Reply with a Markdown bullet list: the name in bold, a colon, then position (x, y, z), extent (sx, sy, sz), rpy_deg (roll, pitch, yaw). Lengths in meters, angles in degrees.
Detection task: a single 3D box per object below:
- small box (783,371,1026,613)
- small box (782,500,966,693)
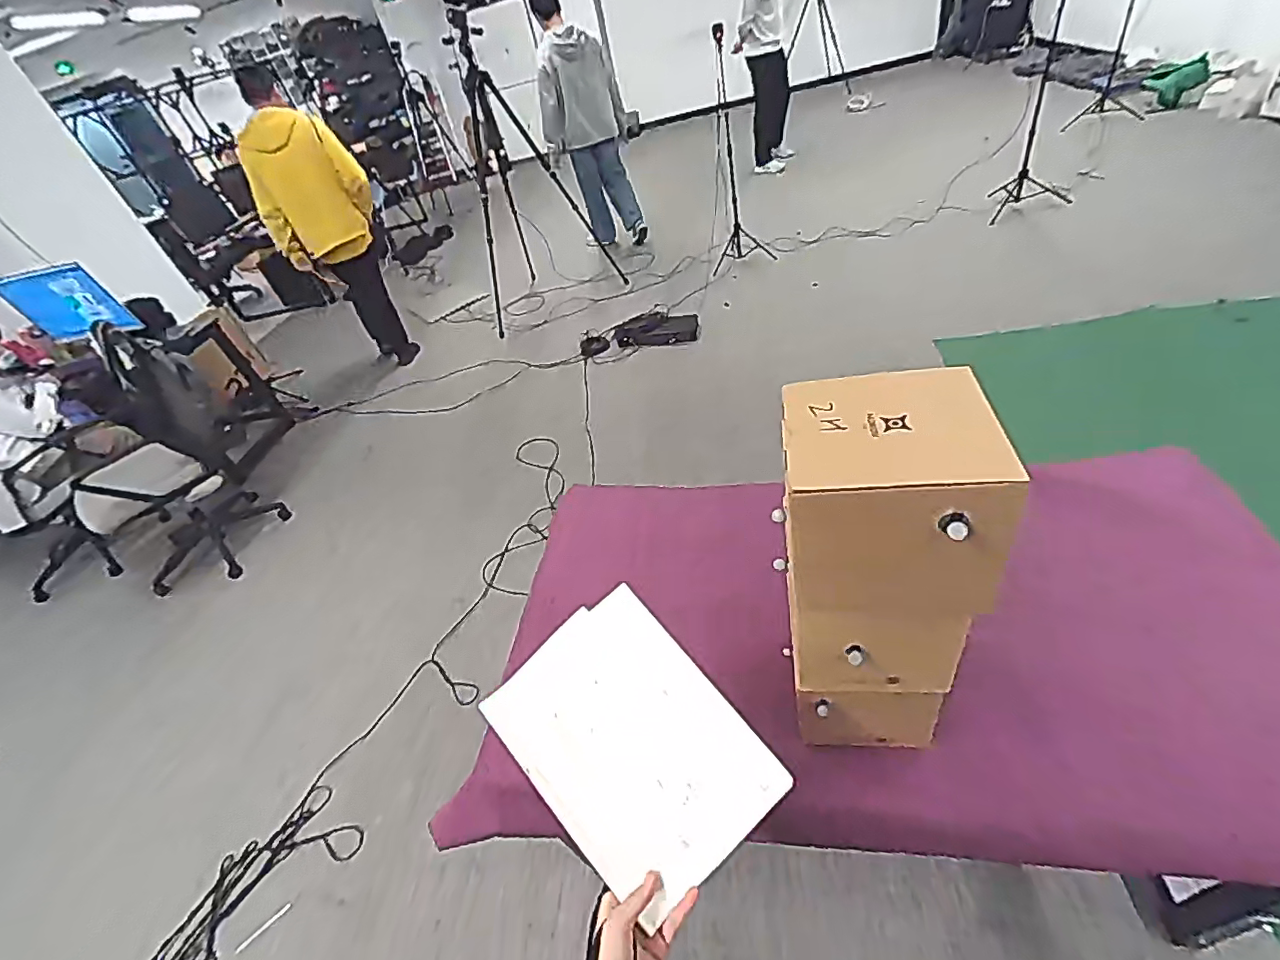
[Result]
- **small box**: position (0.233, 0.015, 0.528), extent (0.179, 0.176, 0.168), rpy_deg (-3, 40, 16)
- **small box**: position (0.261, 0.134, 0.640), extent (0.168, 0.176, 0.179), rpy_deg (-5, 40, 14)
